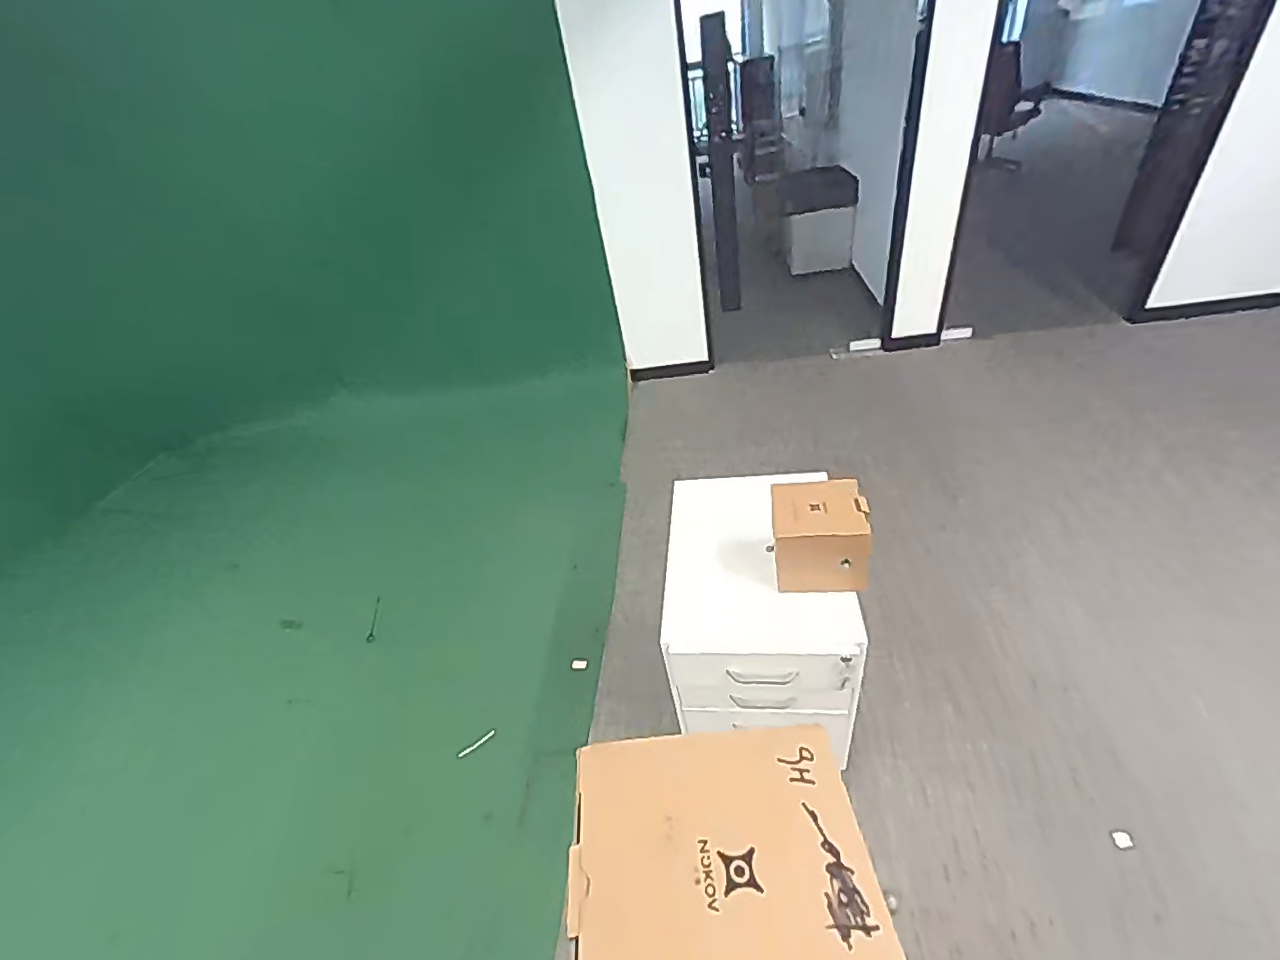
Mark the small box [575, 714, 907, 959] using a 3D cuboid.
[{"bbox_3d":[0.054,0.287,0.369,0.179,0.176,0.168,-5,39,-2],"label":"small box"}]

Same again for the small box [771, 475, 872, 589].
[{"bbox_3d":[0.367,0.110,1.119,0.179,0.176,0.168,-5,38,12],"label":"small box"}]
